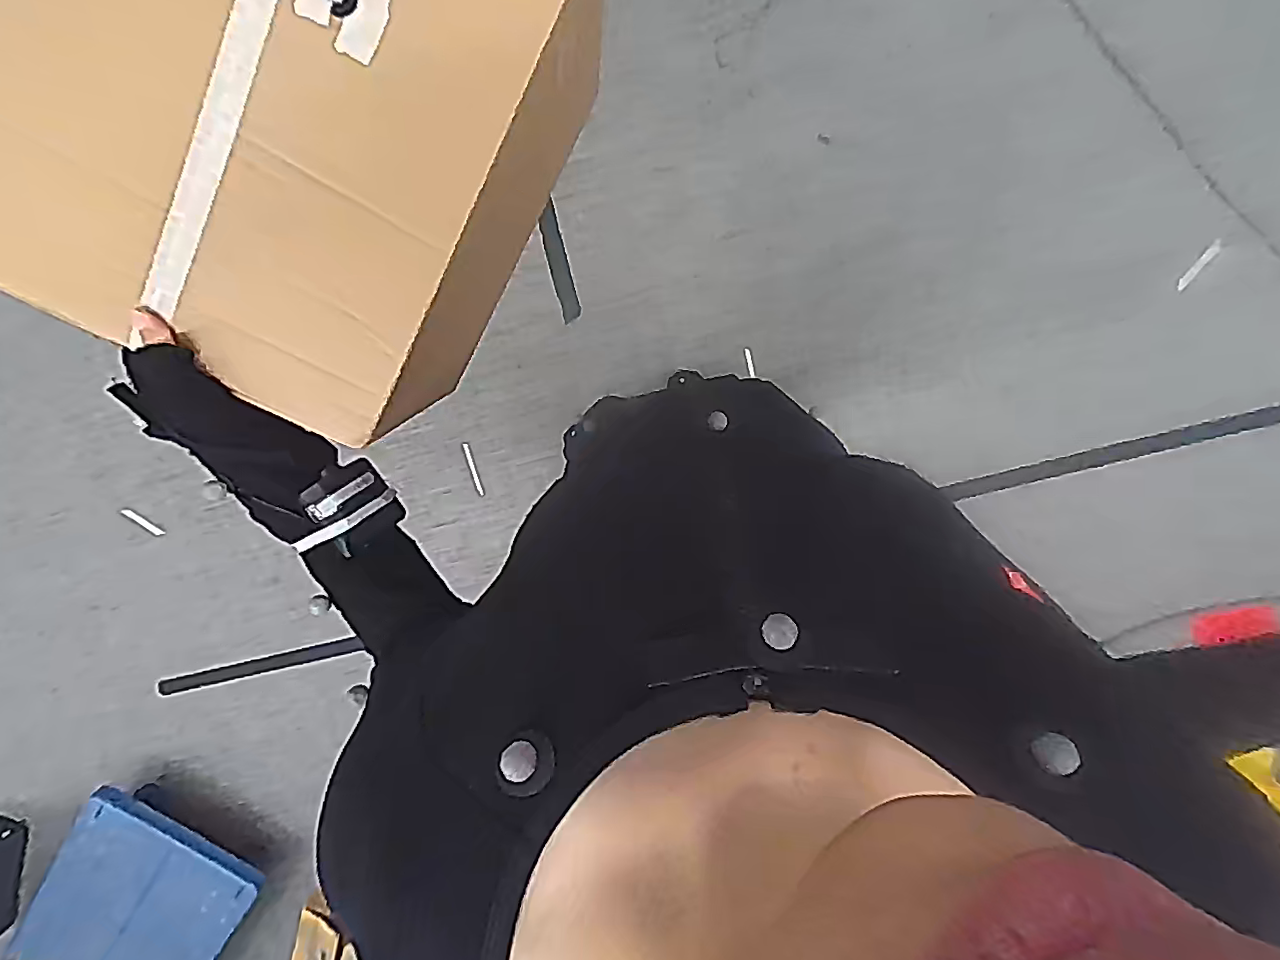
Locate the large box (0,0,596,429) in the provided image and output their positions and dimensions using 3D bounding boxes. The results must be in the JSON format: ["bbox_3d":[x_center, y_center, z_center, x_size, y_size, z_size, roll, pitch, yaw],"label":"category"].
[{"bbox_3d":[-0.263,-0.311,0.498,0.320,0.320,0.408,27,102,-13],"label":"large box"}]
